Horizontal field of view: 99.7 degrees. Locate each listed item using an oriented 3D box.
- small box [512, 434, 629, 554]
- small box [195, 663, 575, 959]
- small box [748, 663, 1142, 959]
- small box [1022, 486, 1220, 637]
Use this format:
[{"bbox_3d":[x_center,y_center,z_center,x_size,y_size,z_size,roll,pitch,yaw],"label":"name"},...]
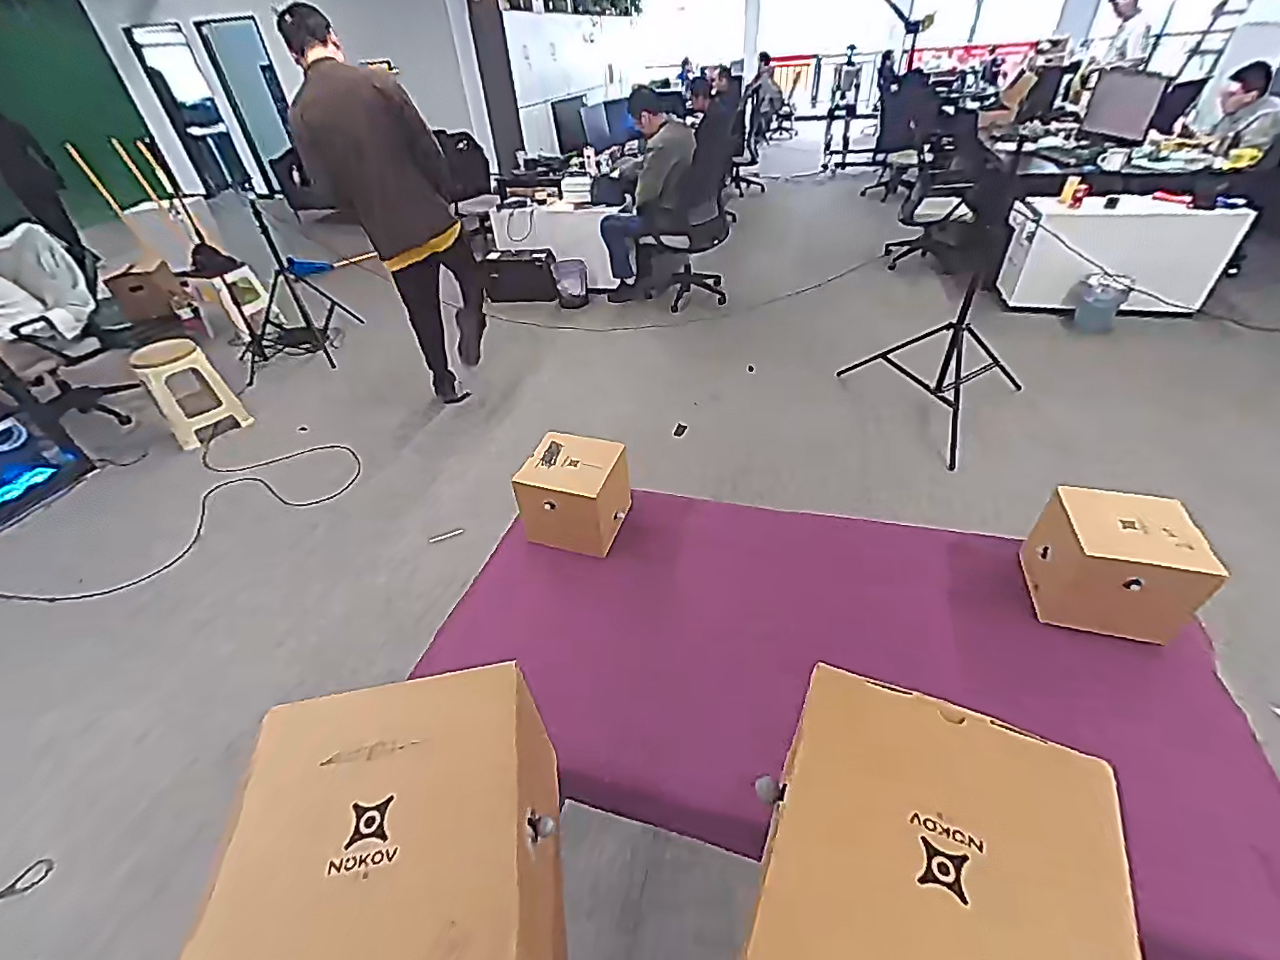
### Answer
[{"bbox_3d":[-0.131,0.030,1.103,0.179,0.176,0.168,10,43,16],"label":"small box"},{"bbox_3d":[-0.139,0.254,0.356,0.168,0.176,0.179,-9,42,-6],"label":"small box"},{"bbox_3d":[0.169,0.256,0.339,0.168,0.176,0.179,14,46,21],"label":"small box"},{"bbox_3d":[0.760,0.133,0.886,0.179,0.176,0.168,9,42,15],"label":"small box"}]
